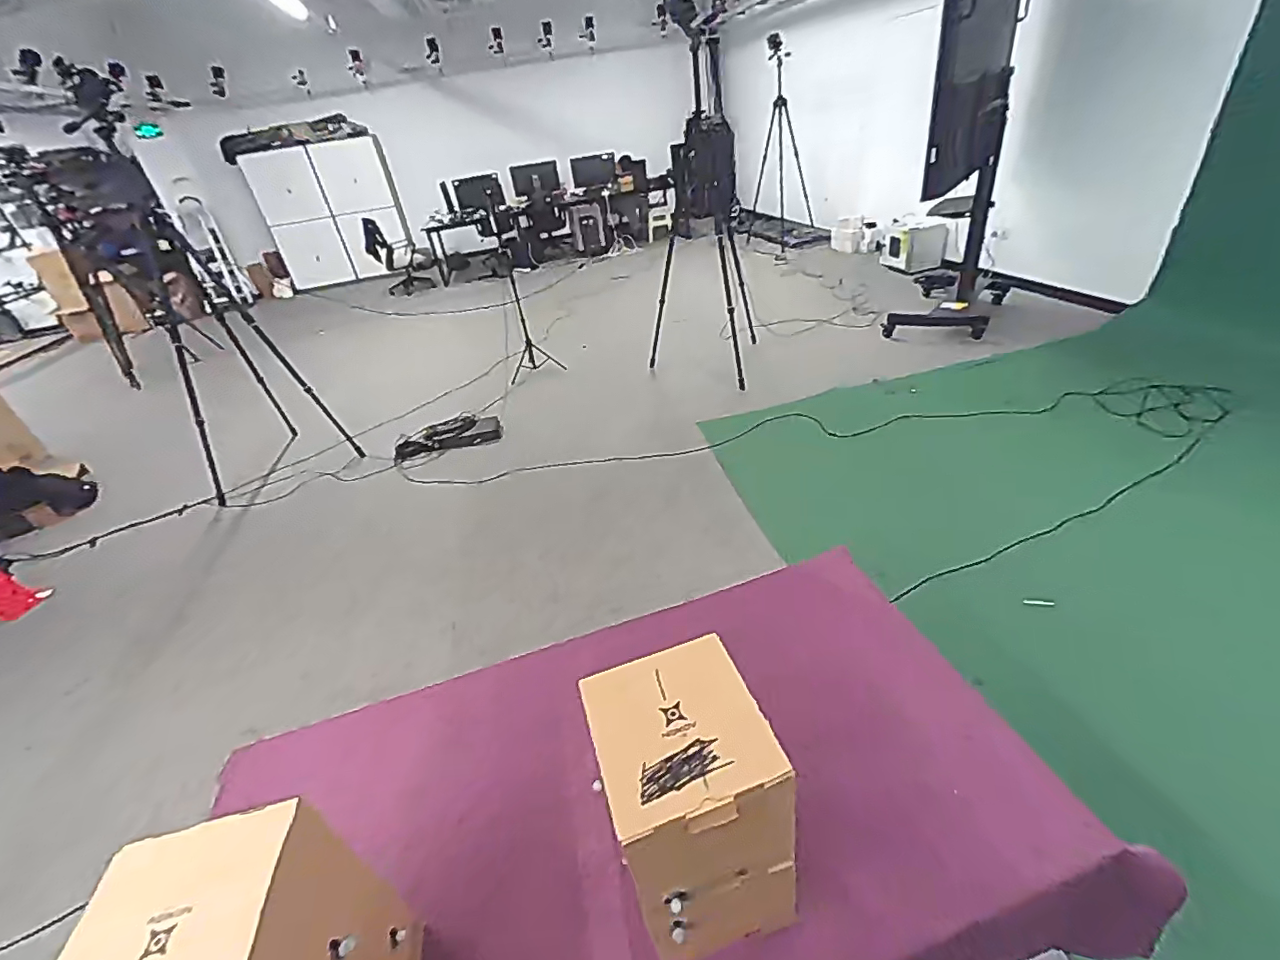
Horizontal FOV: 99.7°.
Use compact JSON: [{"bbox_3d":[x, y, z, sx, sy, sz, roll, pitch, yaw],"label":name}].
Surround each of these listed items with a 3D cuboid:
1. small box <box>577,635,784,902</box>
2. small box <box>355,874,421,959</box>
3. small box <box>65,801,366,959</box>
[{"bbox_3d":[0.043,0.308,0.579,0.168,0.176,0.179,-17,32,-10],"label":"small box"},{"bbox_3d":[-0.353,0.577,0.583,0.168,0.176,0.179,-14,34,-5],"label":"small box"},{"bbox_3d":[-0.378,0.441,0.492,0.168,0.176,0.179,-15,32,-4],"label":"small box"}]
